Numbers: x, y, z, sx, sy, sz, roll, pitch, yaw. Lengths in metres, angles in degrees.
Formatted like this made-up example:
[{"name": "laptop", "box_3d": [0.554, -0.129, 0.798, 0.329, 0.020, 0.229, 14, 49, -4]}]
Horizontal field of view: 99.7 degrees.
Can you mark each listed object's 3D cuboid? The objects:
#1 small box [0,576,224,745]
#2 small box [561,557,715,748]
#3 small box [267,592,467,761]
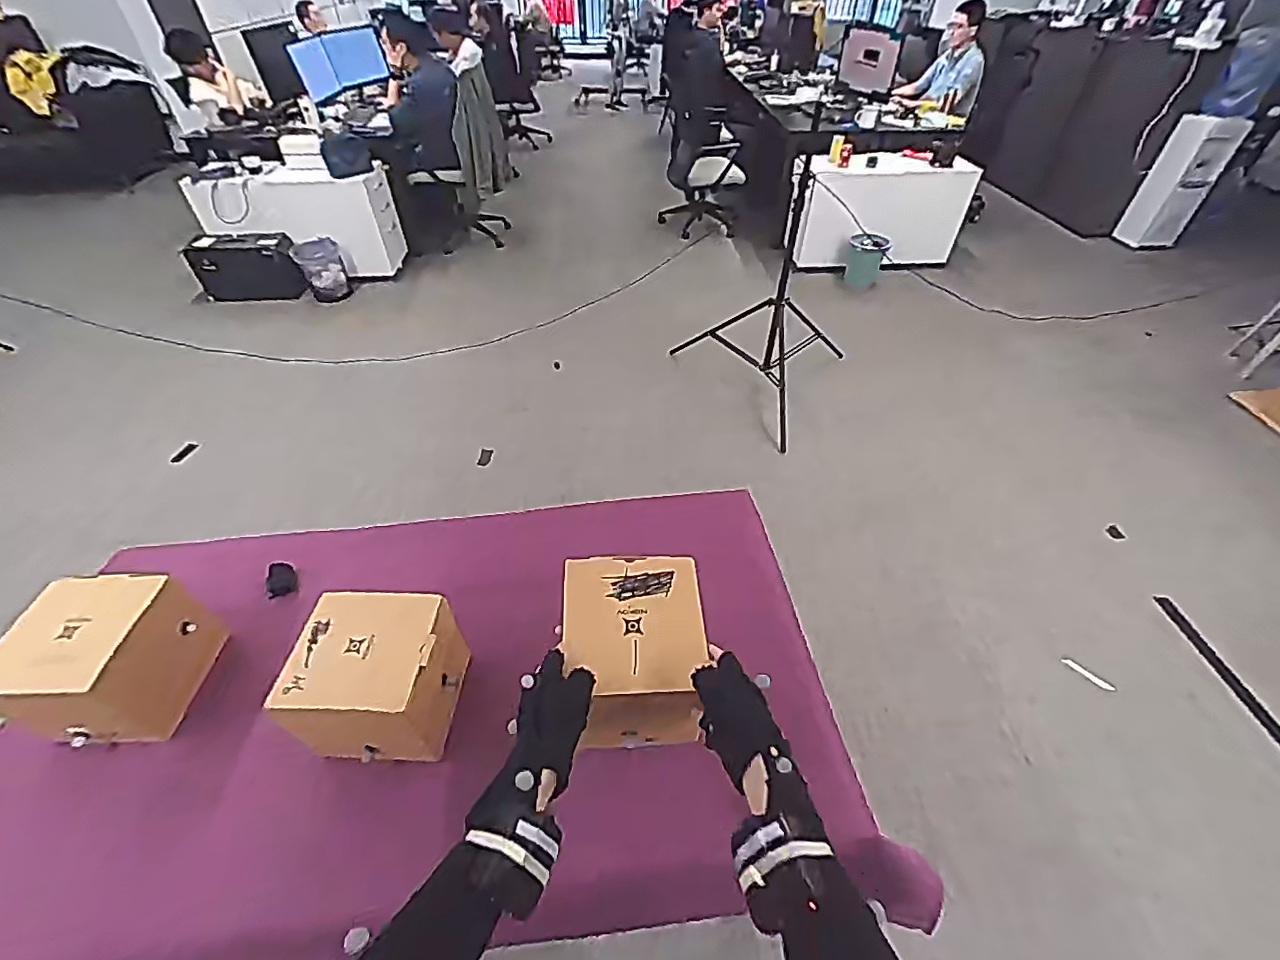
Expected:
[{"name": "small box", "box_3d": [-0.749, 0.258, 0.773, 0.168, 0.176, 0.179, -2, 45, -1]}, {"name": "small box", "box_3d": [-0.009, 0.216, 0.681, 0.168, 0.176, 0.179, -1, 47, -4]}, {"name": "small box", "box_3d": [-0.358, 0.276, 0.755, 0.179, 0.176, 0.168, 2, 44, 1]}]
